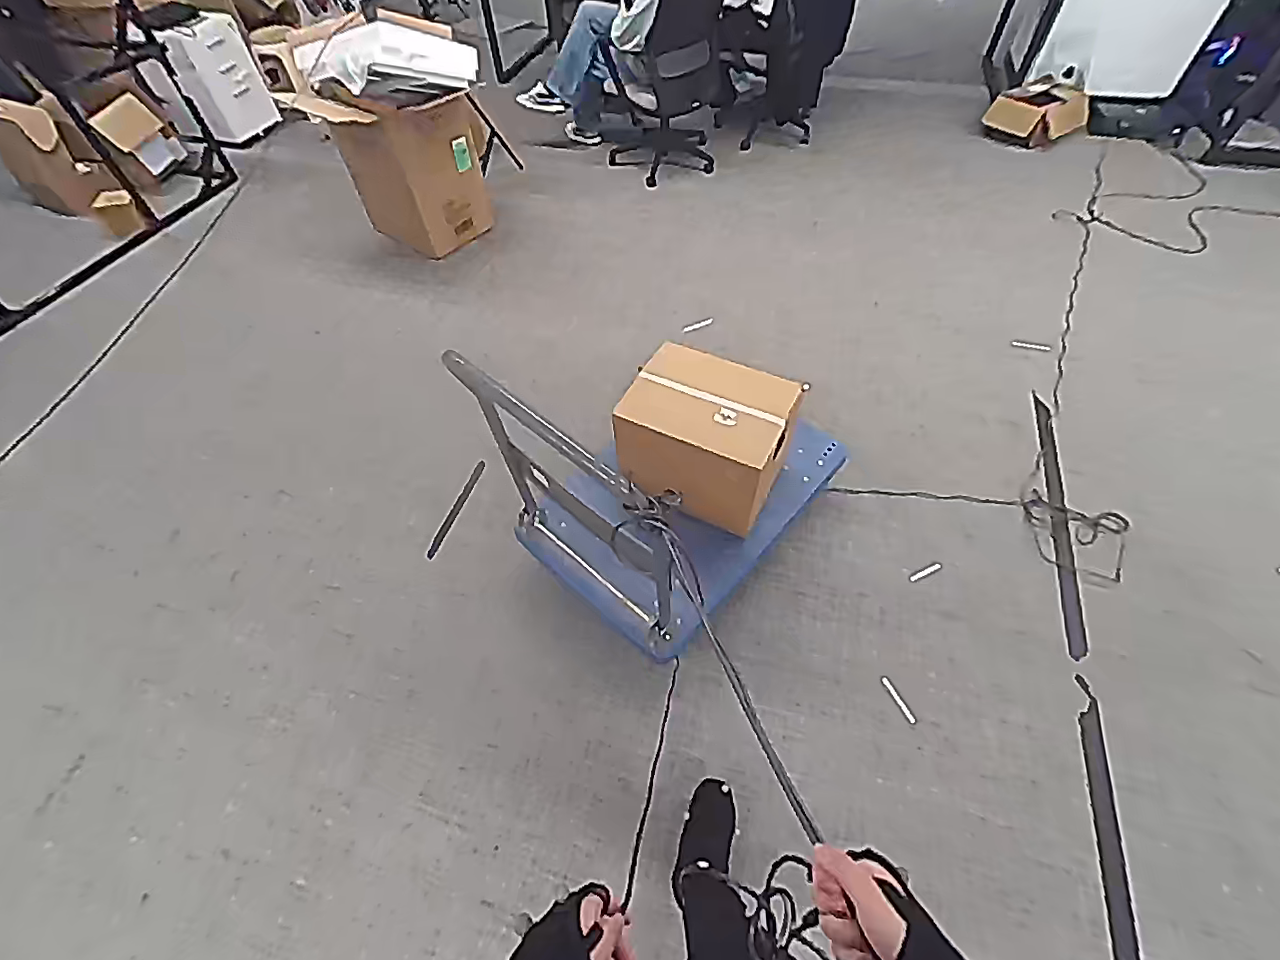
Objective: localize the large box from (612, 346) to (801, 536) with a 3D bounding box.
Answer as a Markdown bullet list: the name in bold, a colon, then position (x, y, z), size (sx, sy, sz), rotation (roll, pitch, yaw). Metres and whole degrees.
- **large box**: position (0.173, -0.109, 1.490), size (0.408, 0.320, 0.320), rotation (23, 58, 17)
